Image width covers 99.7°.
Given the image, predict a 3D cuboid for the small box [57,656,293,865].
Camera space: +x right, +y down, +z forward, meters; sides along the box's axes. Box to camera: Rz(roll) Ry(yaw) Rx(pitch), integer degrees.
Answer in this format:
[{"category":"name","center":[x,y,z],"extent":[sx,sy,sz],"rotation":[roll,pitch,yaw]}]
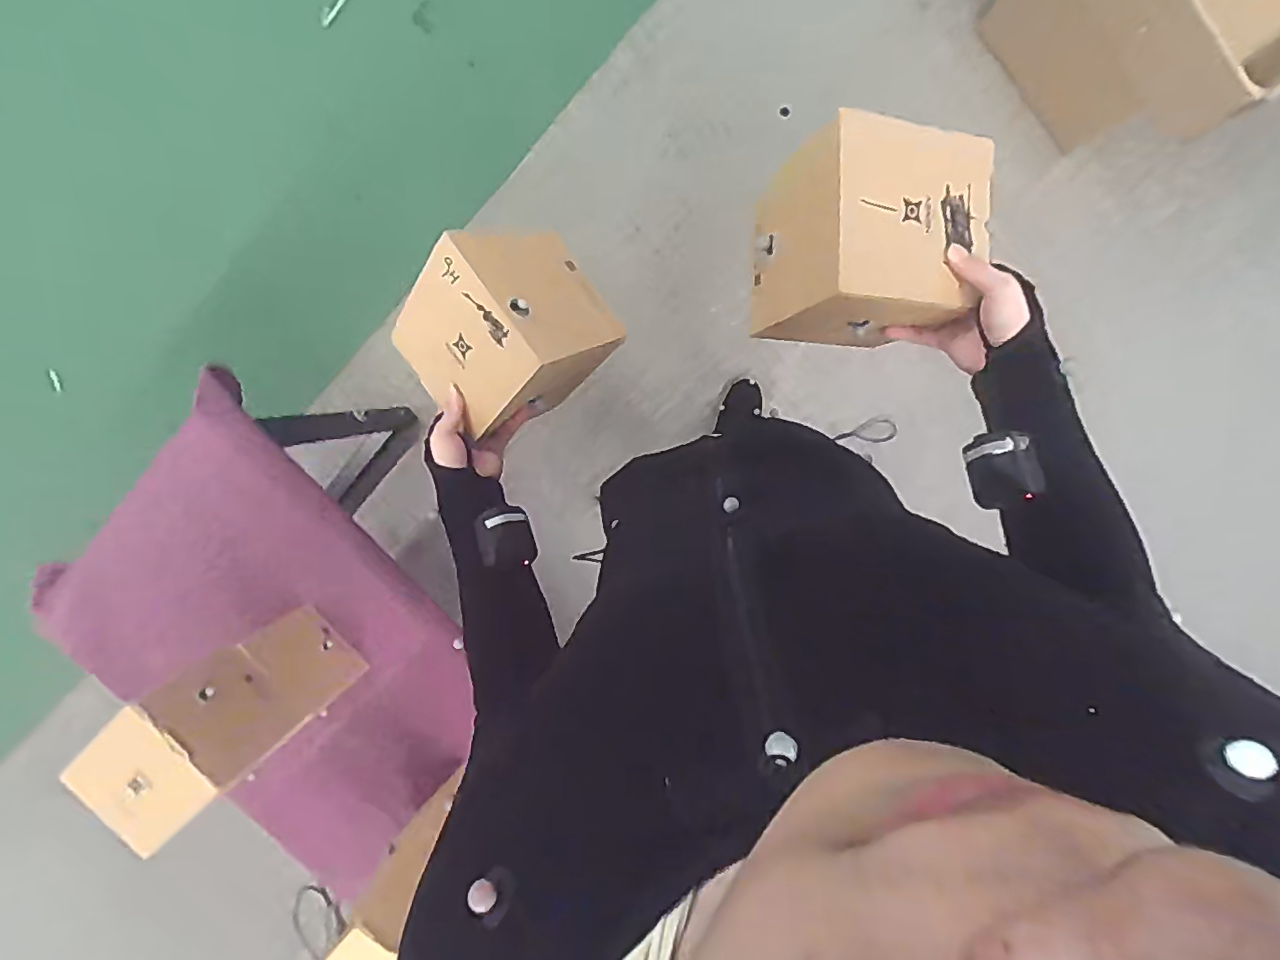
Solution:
[{"category":"small box","center":[-0.656,0.394,0.790],"extent":[0.179,0.176,0.168],"rotation":[-42,92,11]}]

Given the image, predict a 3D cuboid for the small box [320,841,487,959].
[{"category":"small box","center":[-0.359,0.699,0.802],"extent":[0.168,0.176,0.179],"rotation":[39,101,0]}]

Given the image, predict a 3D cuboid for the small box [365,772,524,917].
[{"category":"small box","center":[-0.335,0.674,0.962],"extent":[0.168,0.176,0.179],"rotation":[41,101,-1]}]

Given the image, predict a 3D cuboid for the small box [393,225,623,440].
[{"category":"small box","center":[-0.153,-0.177,0.647],"extent":[0.179,0.176,0.168],"rotation":[-35,90,41]}]

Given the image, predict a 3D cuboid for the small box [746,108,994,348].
[{"category":"small box","center":[0.231,-0.243,0.571],"extent":[0.179,0.176,0.168],"rotation":[1,90,-16]}]
